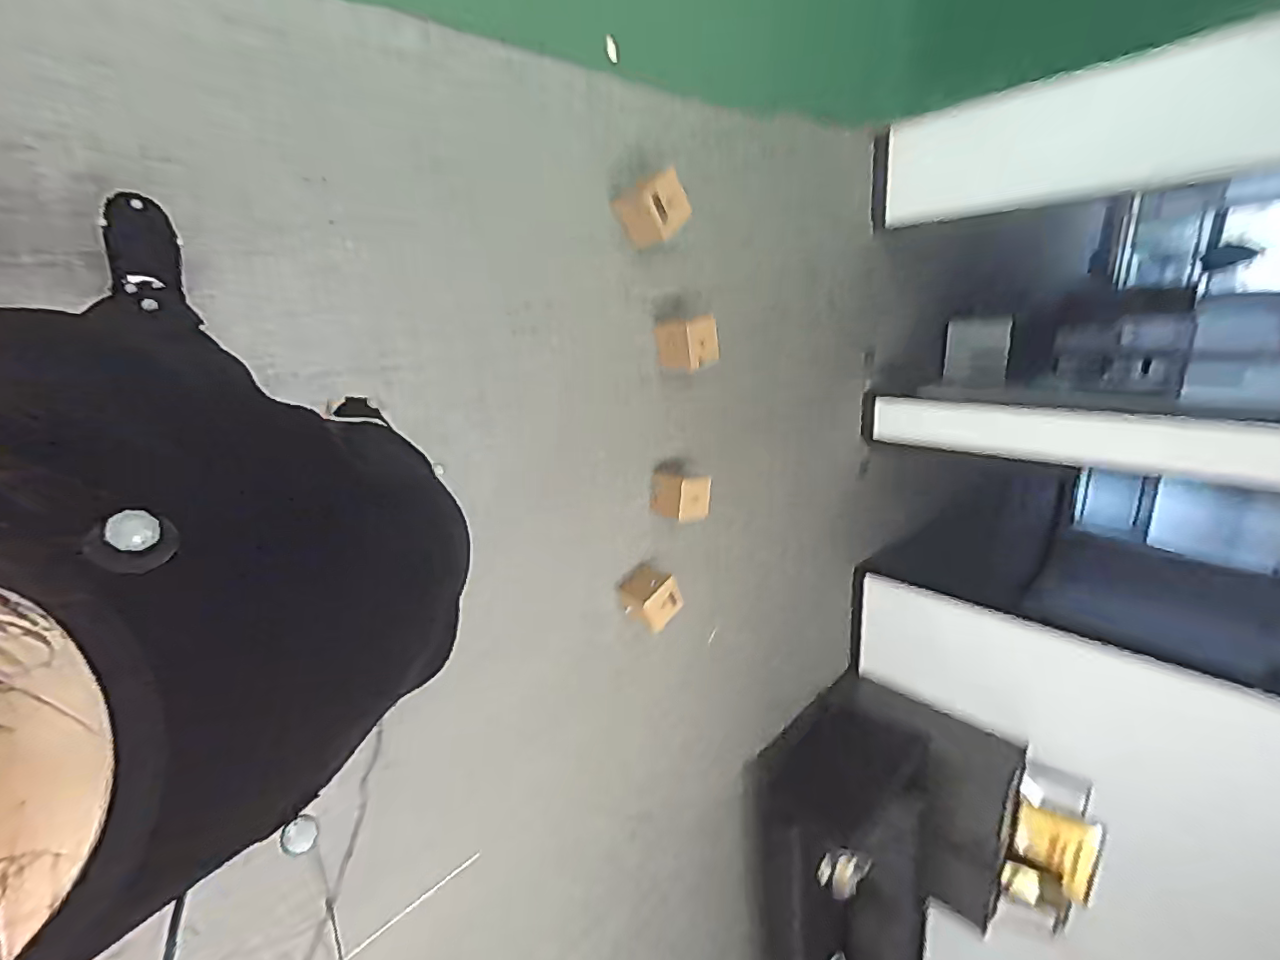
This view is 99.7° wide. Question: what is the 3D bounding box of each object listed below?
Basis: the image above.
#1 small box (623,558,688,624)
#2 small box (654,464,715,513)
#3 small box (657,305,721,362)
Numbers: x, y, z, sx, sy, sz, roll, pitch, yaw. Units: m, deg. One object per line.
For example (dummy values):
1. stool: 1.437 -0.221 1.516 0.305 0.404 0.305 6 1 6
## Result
1. small box: 0.061 0.444 2.191 0.179 0.176 0.168 -40 125 -29
2. small box: 0.180 0.028 2.198 0.179 0.176 0.168 -4 103 -43
3. small box: 0.184 -0.553 2.052 0.168 0.176 0.179 -29 118 -35
